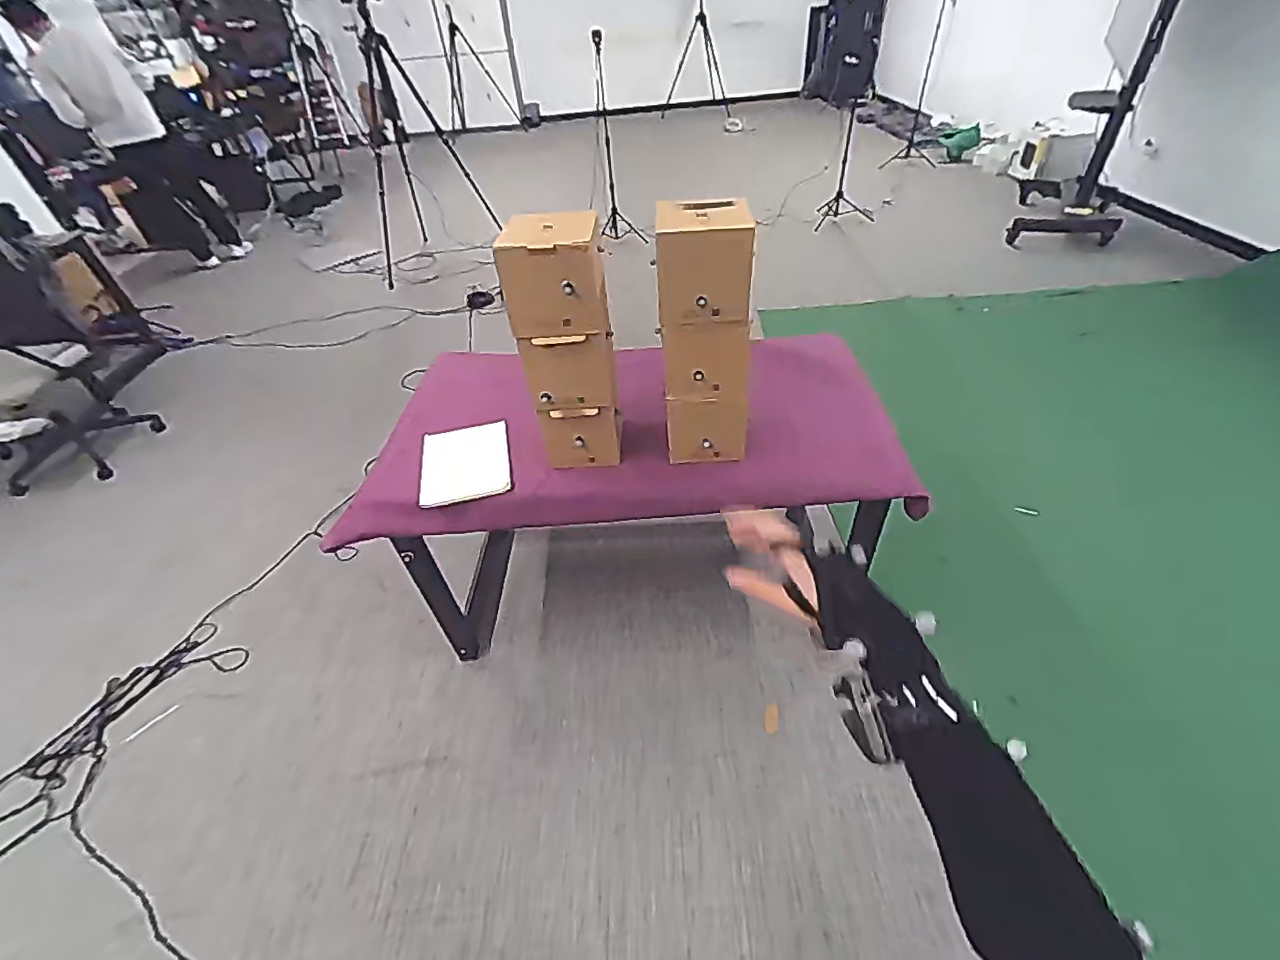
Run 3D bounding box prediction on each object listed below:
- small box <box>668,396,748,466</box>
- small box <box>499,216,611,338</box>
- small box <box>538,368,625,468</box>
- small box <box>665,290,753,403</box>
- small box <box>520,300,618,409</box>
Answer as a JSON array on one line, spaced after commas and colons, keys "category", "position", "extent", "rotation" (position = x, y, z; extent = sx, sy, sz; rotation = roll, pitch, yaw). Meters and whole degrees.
[{"category": "small box", "position": [0.149, -0.150, 1.222], "extent": [0.168, 0.176, 0.179], "rotation": [-3, 41, 5]}, {"category": "small box", "position": [-0.148, -0.376, 1.015], "extent": [0.168, 0.176, 0.179], "rotation": [-1, 41, 4]}, {"category": "small box", "position": [-0.125, -0.140, 1.242], "extent": [0.168, 0.176, 0.179], "rotation": [-2, 43, 3]}, {"category": "small box", "position": [0.136, -0.276, 1.119], "extent": [0.168, 0.176, 0.179], "rotation": [-2, 41, 4]}, {"category": "small box", "position": [-0.137, -0.258, 1.127], "extent": [0.168, 0.176, 0.179], "rotation": [-2, 41, 4]}]
